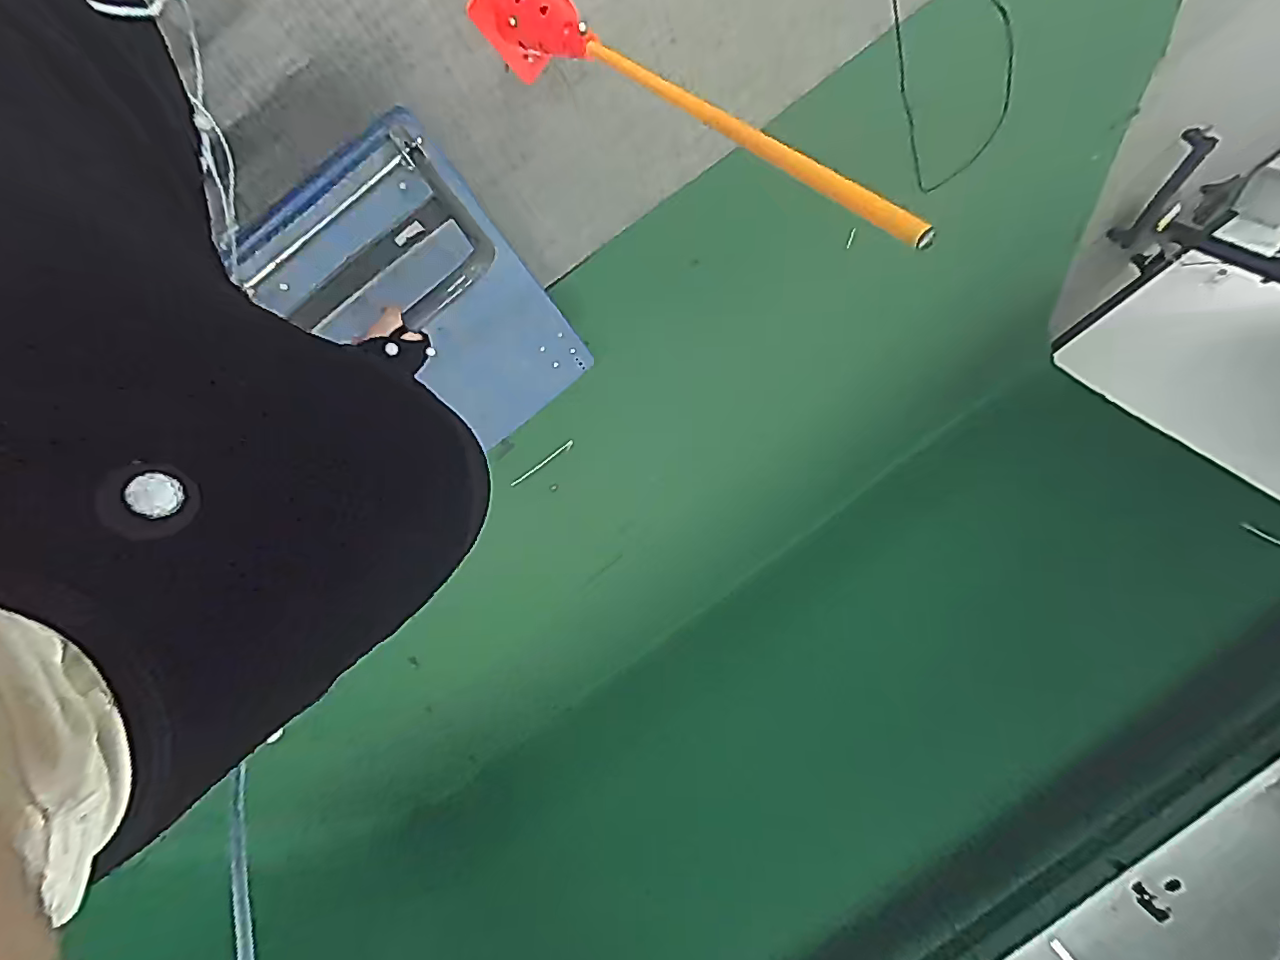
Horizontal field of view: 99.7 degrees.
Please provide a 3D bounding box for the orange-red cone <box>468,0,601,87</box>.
[{"bbox_3d":[-0.180,-0.938,1.137,0.199,0.360,0.198,-46,146,12],"label":"orange-red cone"}]
